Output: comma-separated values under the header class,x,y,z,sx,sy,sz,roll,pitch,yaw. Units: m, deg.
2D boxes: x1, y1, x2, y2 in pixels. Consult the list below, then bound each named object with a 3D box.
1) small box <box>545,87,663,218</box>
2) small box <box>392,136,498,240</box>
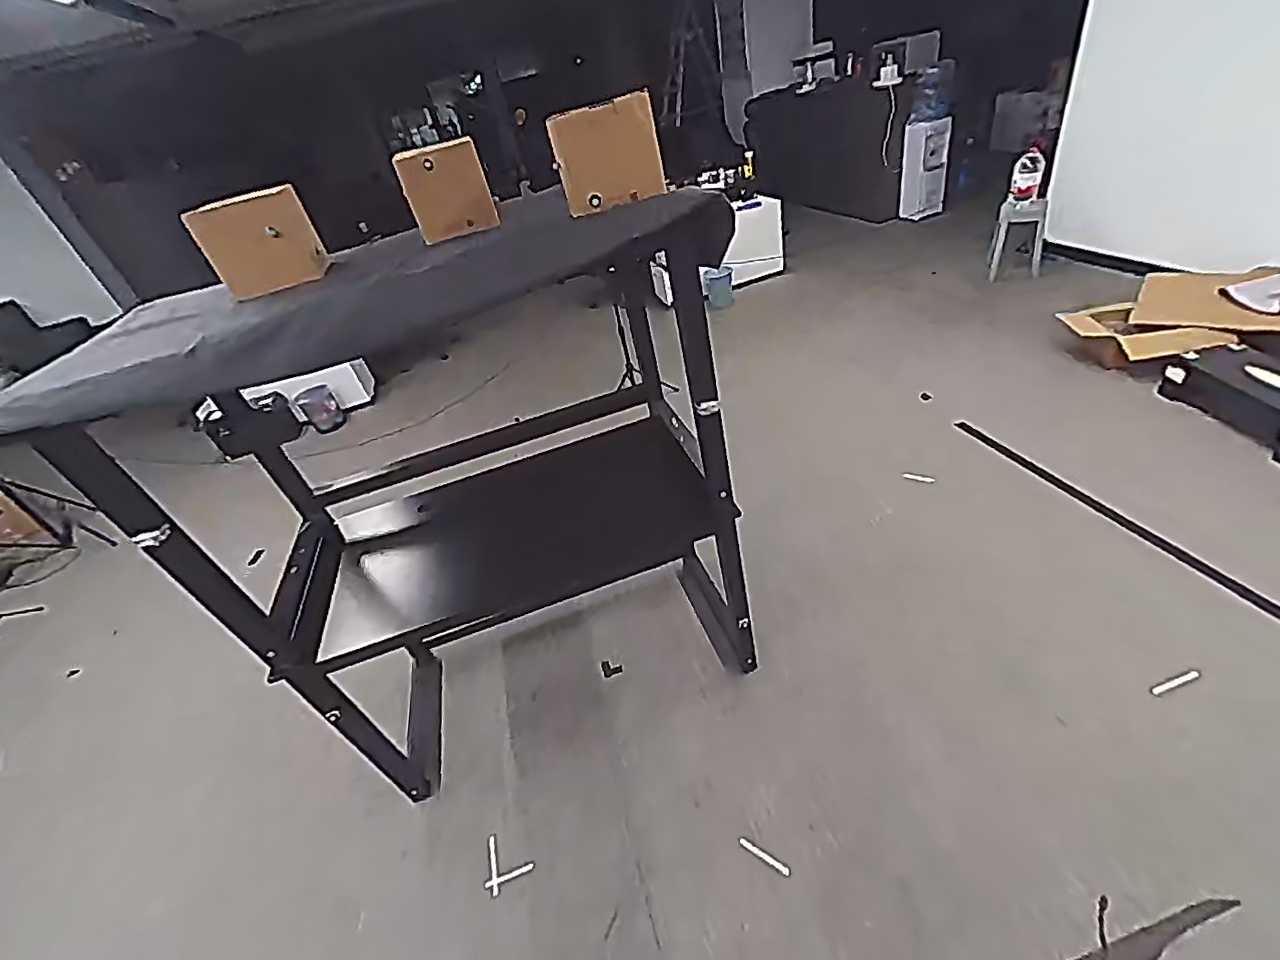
class,x,y,z,sx,sy,sz,roll,pitch,yaw
small box,-0.066,-0.598,1.003,0.168,0.176,0.179,-18,32,-4
small box,-0.424,-0.646,1.199,0.168,0.176,0.179,-20,36,-7
